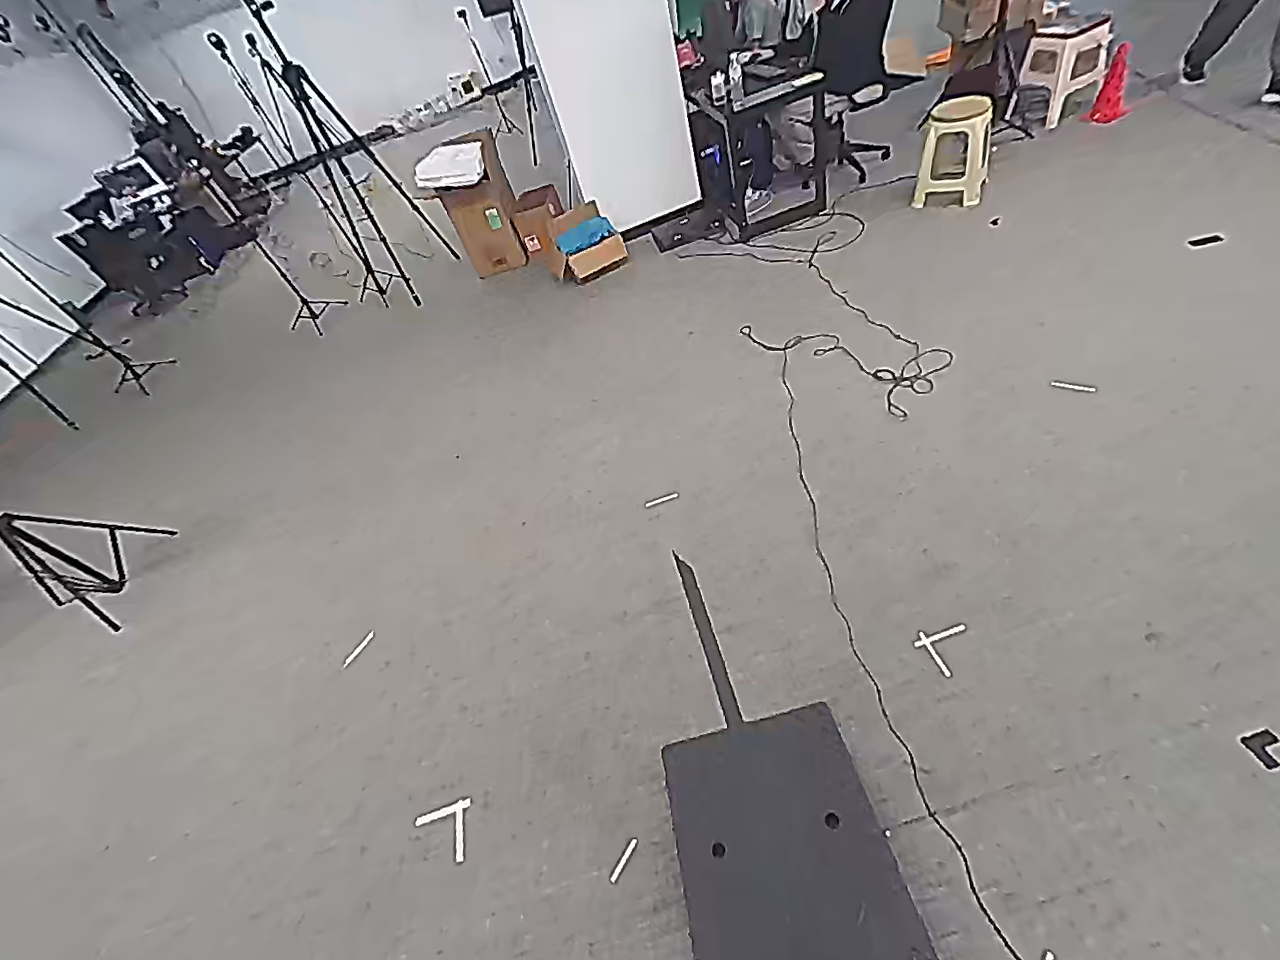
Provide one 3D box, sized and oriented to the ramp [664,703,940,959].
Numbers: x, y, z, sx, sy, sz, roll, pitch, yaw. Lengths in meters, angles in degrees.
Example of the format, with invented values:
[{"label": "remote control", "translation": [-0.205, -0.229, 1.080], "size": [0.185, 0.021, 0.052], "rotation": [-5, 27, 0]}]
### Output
[{"label": "ramp", "translation": [0.354, 0.985, 1.142], "size": [0.509, 0.206, 0.991], "rotation": [-20, 44, 4]}]
